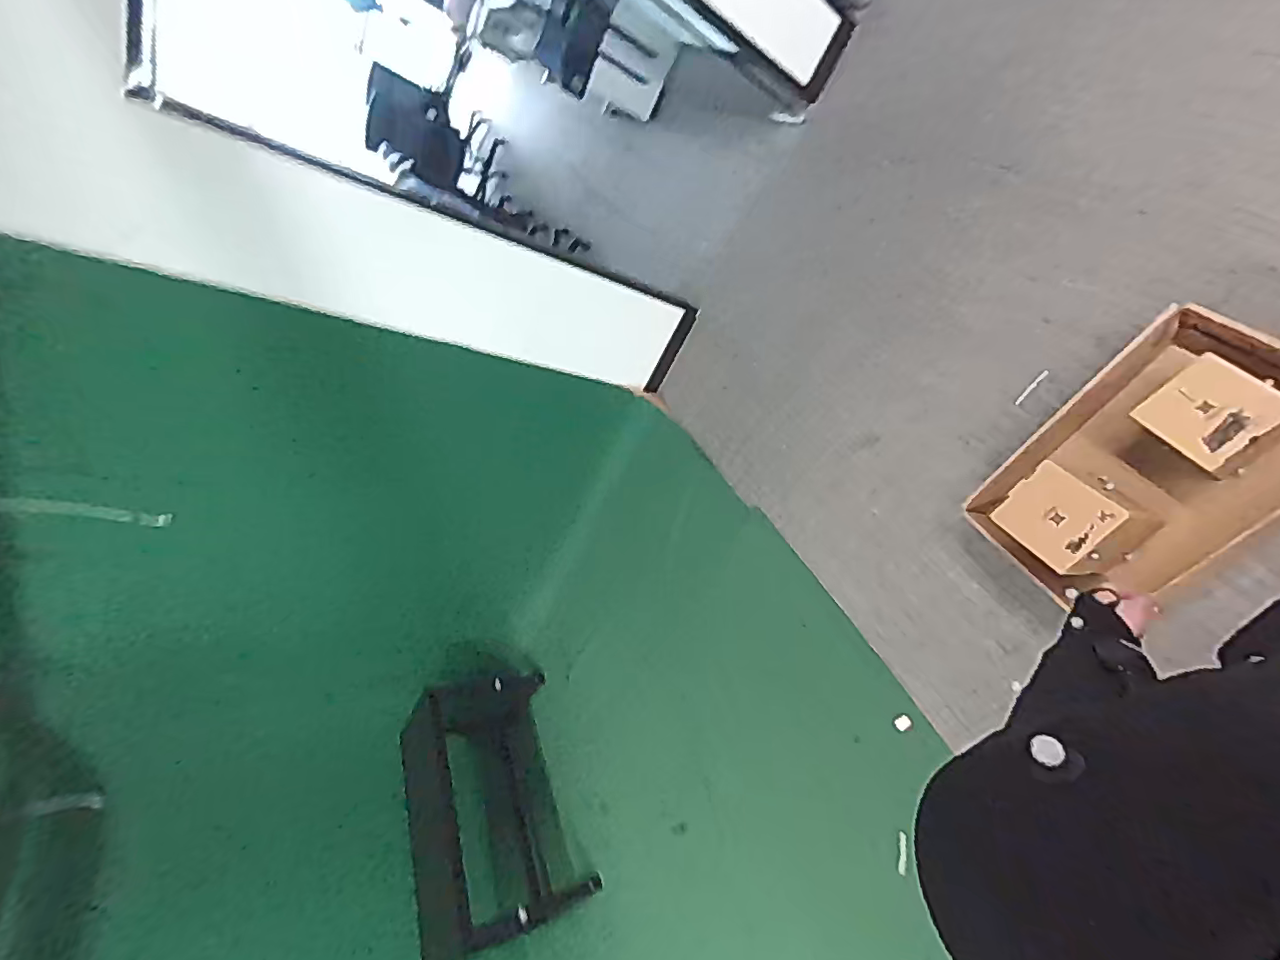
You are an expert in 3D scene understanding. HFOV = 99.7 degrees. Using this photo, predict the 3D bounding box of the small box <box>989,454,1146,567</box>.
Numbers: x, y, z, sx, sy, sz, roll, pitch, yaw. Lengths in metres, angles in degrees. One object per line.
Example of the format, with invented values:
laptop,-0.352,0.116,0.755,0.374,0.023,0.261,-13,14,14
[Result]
small box,0.898,0.071,1.140,0.168,0.176,0.179,-60,42,28
